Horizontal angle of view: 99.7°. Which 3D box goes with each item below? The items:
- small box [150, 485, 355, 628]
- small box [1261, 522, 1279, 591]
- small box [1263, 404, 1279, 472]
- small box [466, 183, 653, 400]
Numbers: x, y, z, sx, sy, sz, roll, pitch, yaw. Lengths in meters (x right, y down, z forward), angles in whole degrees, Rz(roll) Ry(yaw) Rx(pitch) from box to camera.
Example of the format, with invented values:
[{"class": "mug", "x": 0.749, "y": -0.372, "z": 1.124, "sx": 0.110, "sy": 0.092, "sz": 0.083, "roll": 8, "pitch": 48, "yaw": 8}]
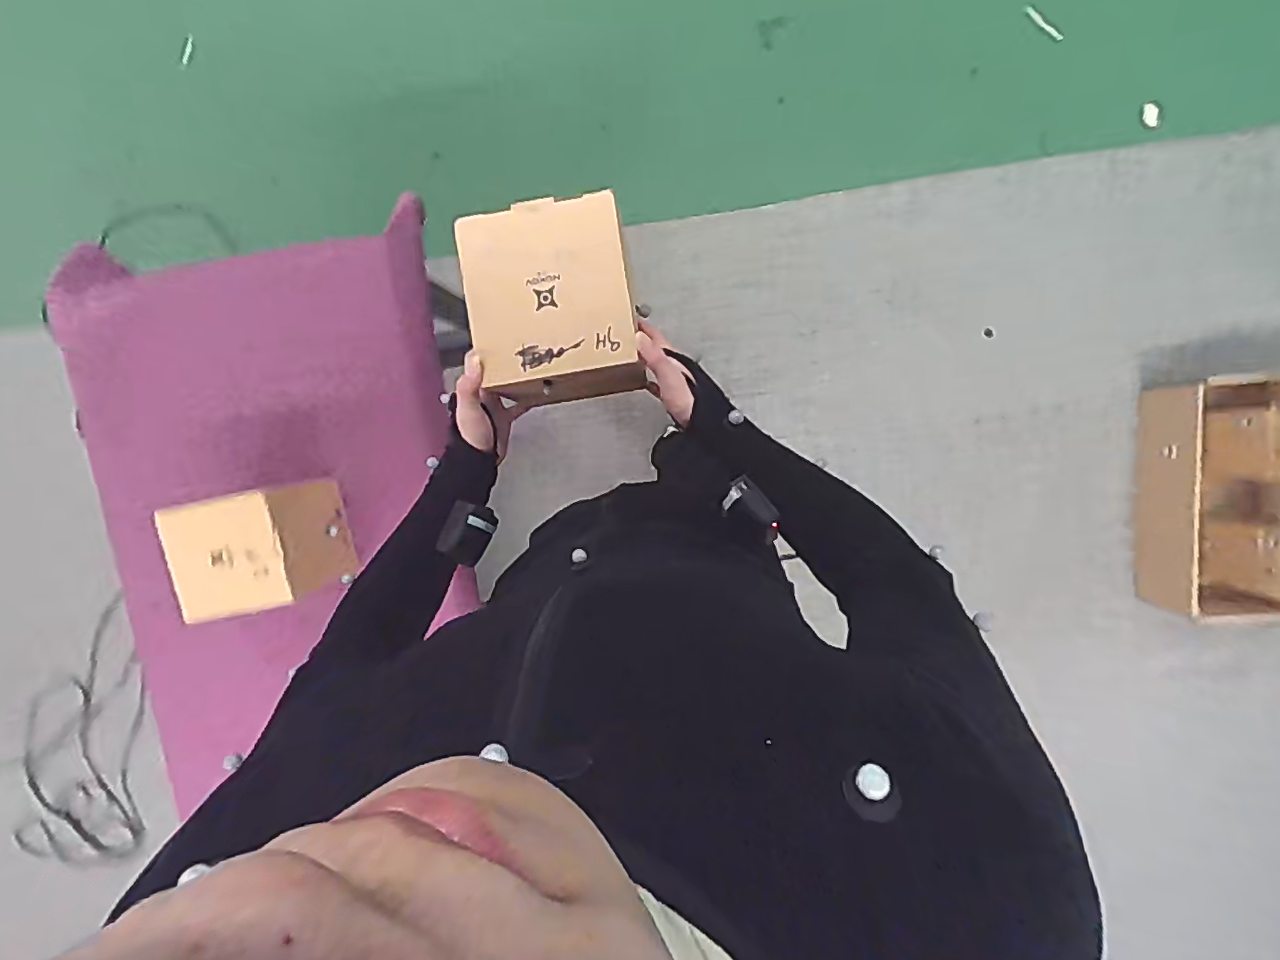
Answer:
[{"class": "small box", "x": -0.589, "y": 0.110, "z": 0.843, "sx": 0.179, "sy": 0.176, "sz": 0.168, "roll": -12, "pitch": 96, "yaw": 4}, {"class": "small box", "x": 1.596, "y": 0.185, "z": 1.235, "sx": 0.179, "sy": 0.176, "sz": 0.168, "roll": -2, "pitch": 94, "yaw": 2}, {"class": "small box", "x": 1.582, "y": -0.097, "z": 1.209, "sx": 0.179, "sy": 0.176, "sz": 0.168, "roll": -3, "pitch": 96, "yaw": 3}, {"class": "small box", "x": -0.078, "y": -0.196, "z": 0.610, "sx": 0.168, "sy": 0.176, "sz": 0.179, "roll": -7, "pitch": 91, "yaw": 4}]
